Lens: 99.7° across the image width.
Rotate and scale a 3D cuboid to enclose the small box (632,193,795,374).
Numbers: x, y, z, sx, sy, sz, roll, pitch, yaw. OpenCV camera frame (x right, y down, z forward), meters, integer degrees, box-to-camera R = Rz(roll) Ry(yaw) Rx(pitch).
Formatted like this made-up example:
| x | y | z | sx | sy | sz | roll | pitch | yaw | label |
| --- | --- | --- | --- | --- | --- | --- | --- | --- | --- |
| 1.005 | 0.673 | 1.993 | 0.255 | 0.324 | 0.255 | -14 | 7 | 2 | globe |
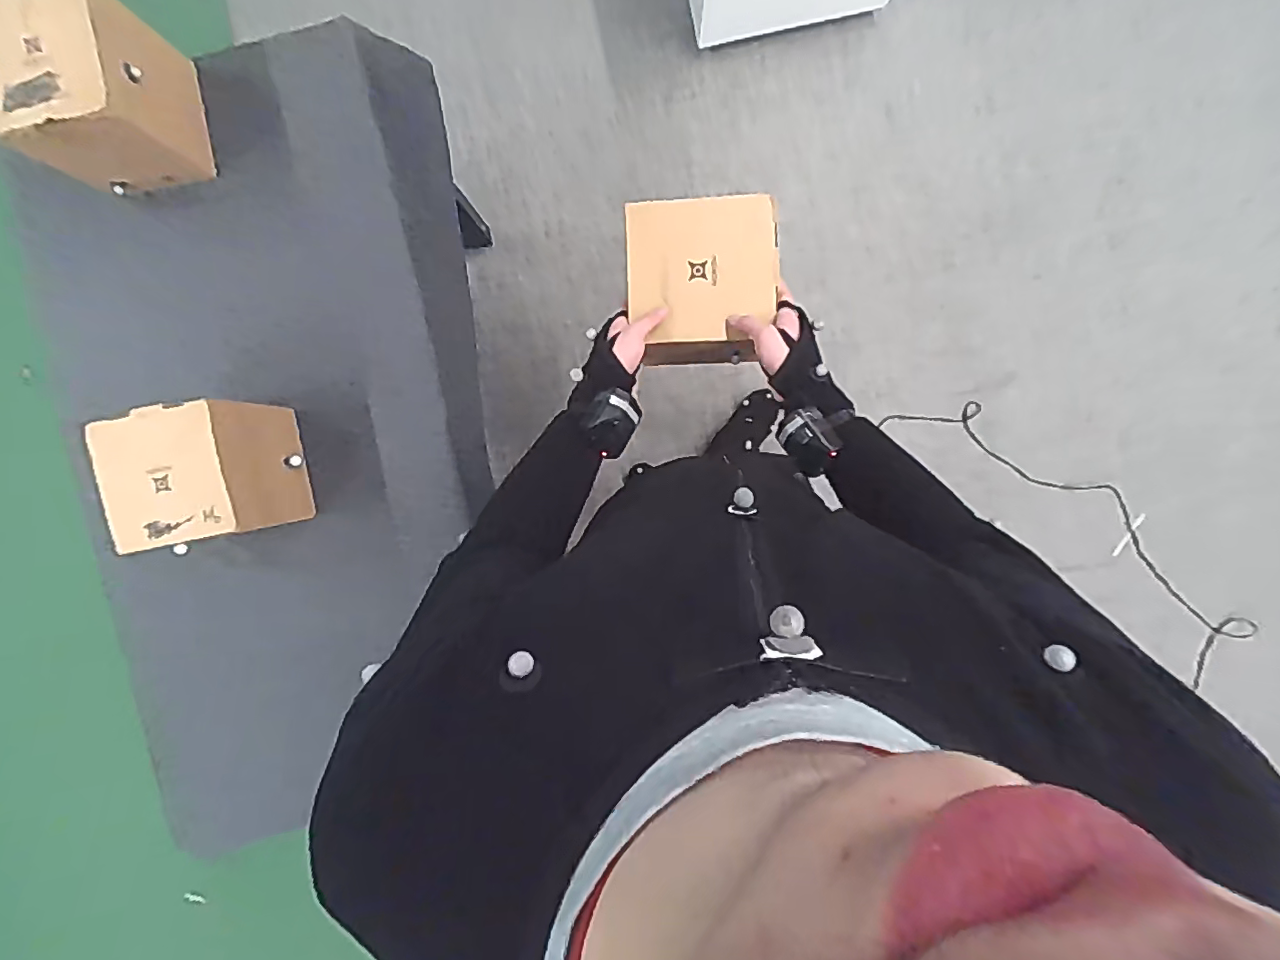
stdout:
| x | y | z | sx | sy | sz | roll | pitch | yaw | label |
| --- | --- | --- | --- | --- | --- | --- | --- | --- | --- |
| 0.087 | -0.234 | 0.684 | 0.179 | 0.176 | 0.168 | -4 | 91 | 5 | small box |
